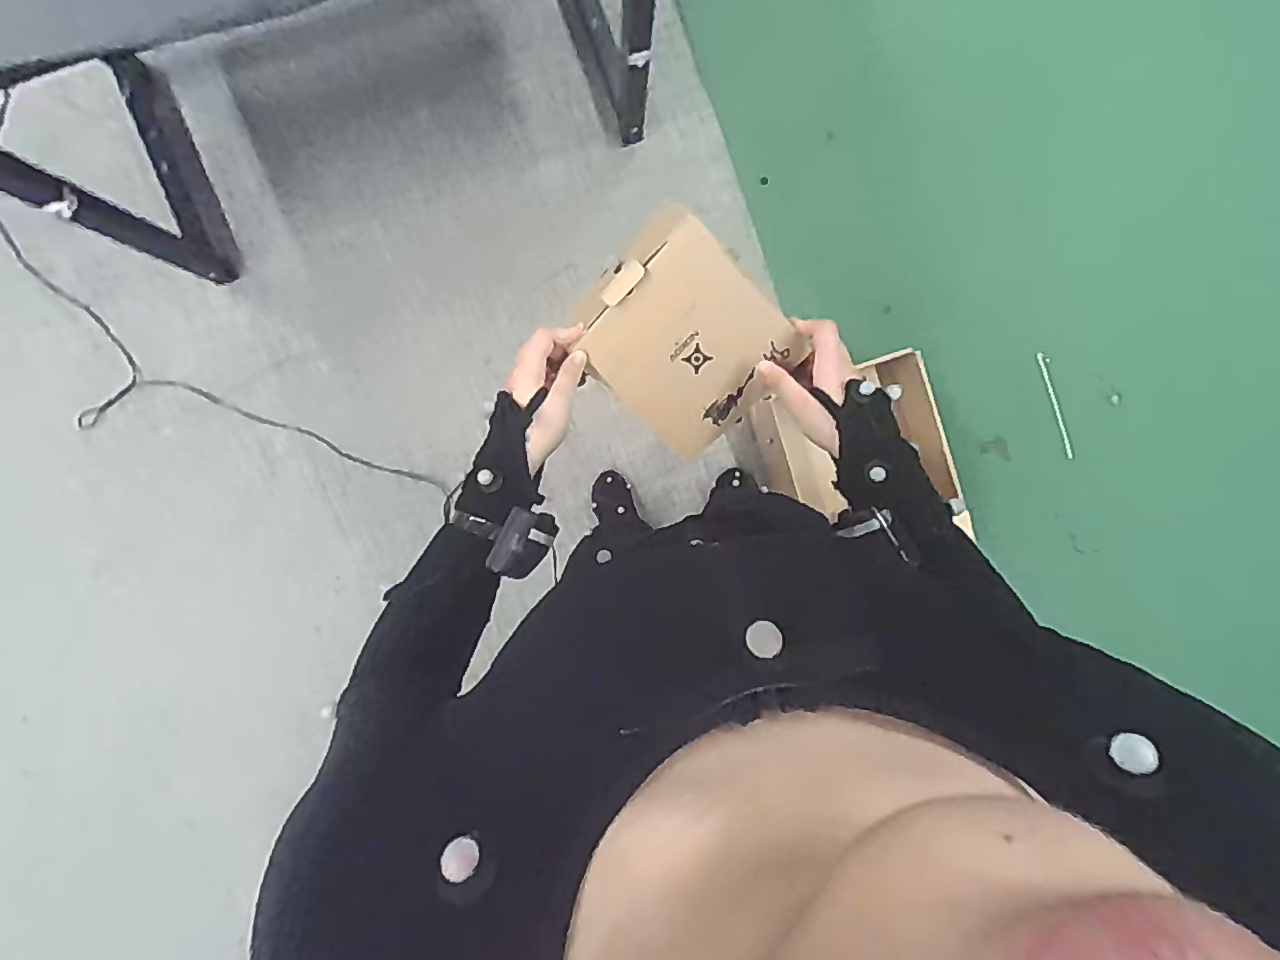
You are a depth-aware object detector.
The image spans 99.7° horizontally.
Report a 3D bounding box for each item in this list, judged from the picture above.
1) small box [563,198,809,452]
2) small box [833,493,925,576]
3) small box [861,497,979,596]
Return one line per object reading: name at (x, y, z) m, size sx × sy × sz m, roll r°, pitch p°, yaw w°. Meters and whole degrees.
small box at (0.036, -0.168, 0.568) m, size 0.179 × 0.176 × 0.168 m, roll 38°, pitch 111°, yaw -26°
small box at (0.623, 0.133, 1.392) m, size 0.179 × 0.176 × 0.168 m, roll -12°, pitch 93°, yaw -1°
small box at (0.627, 0.144, 1.228) m, size 0.168 × 0.176 × 0.179 m, roll -11°, pitch 93°, yaw -2°
